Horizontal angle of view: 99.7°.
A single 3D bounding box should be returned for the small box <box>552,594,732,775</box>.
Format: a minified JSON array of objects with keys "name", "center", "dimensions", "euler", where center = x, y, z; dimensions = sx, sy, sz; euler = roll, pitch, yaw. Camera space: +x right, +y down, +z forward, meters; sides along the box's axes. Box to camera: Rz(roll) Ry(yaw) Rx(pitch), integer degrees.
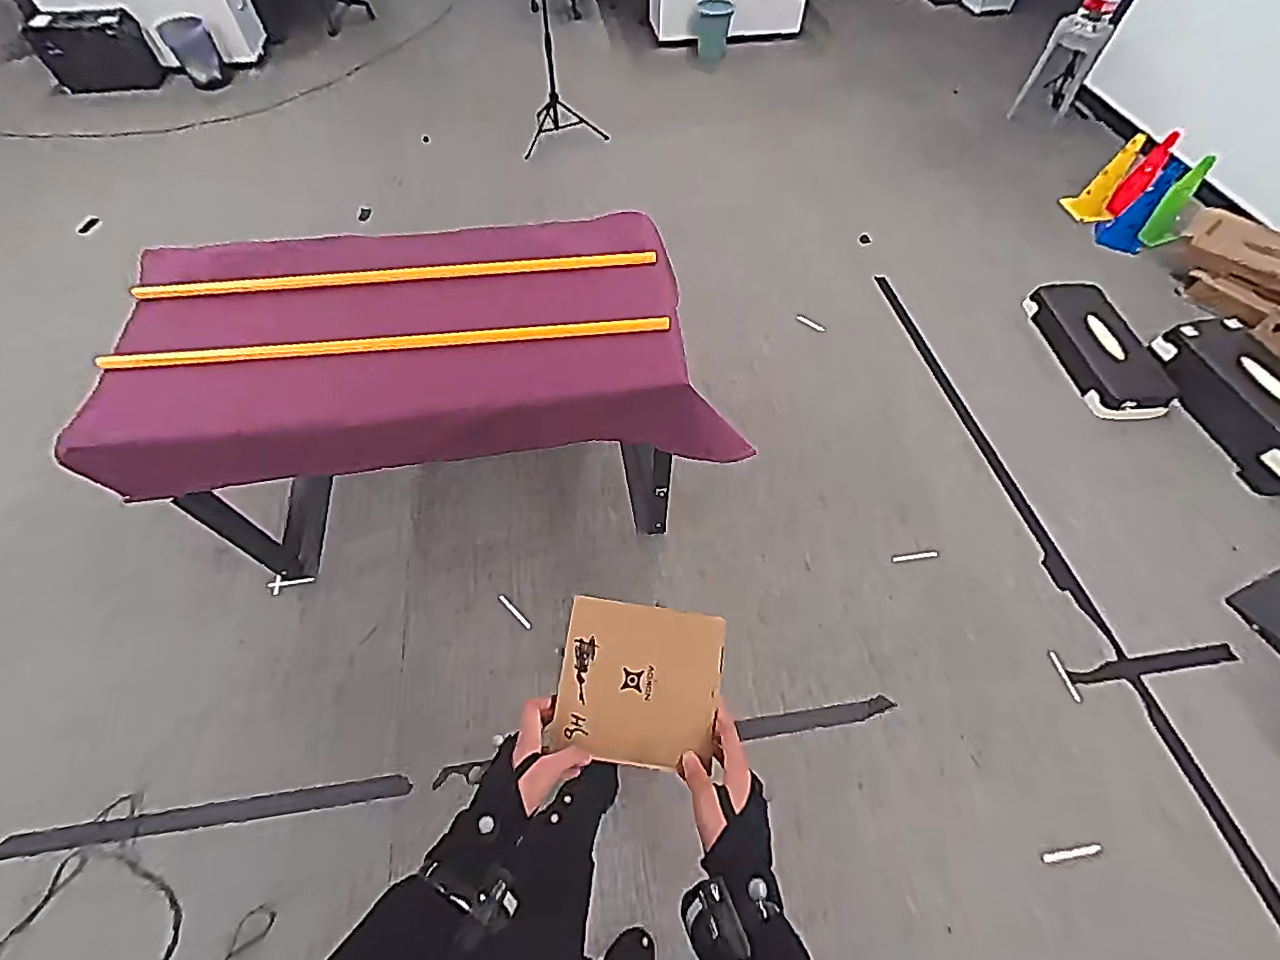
[{"name":"small box","center":[0.003,0.238,0.663],"dimensions":[0.179,0.176,0.168],"euler":[9,75,1]}]
